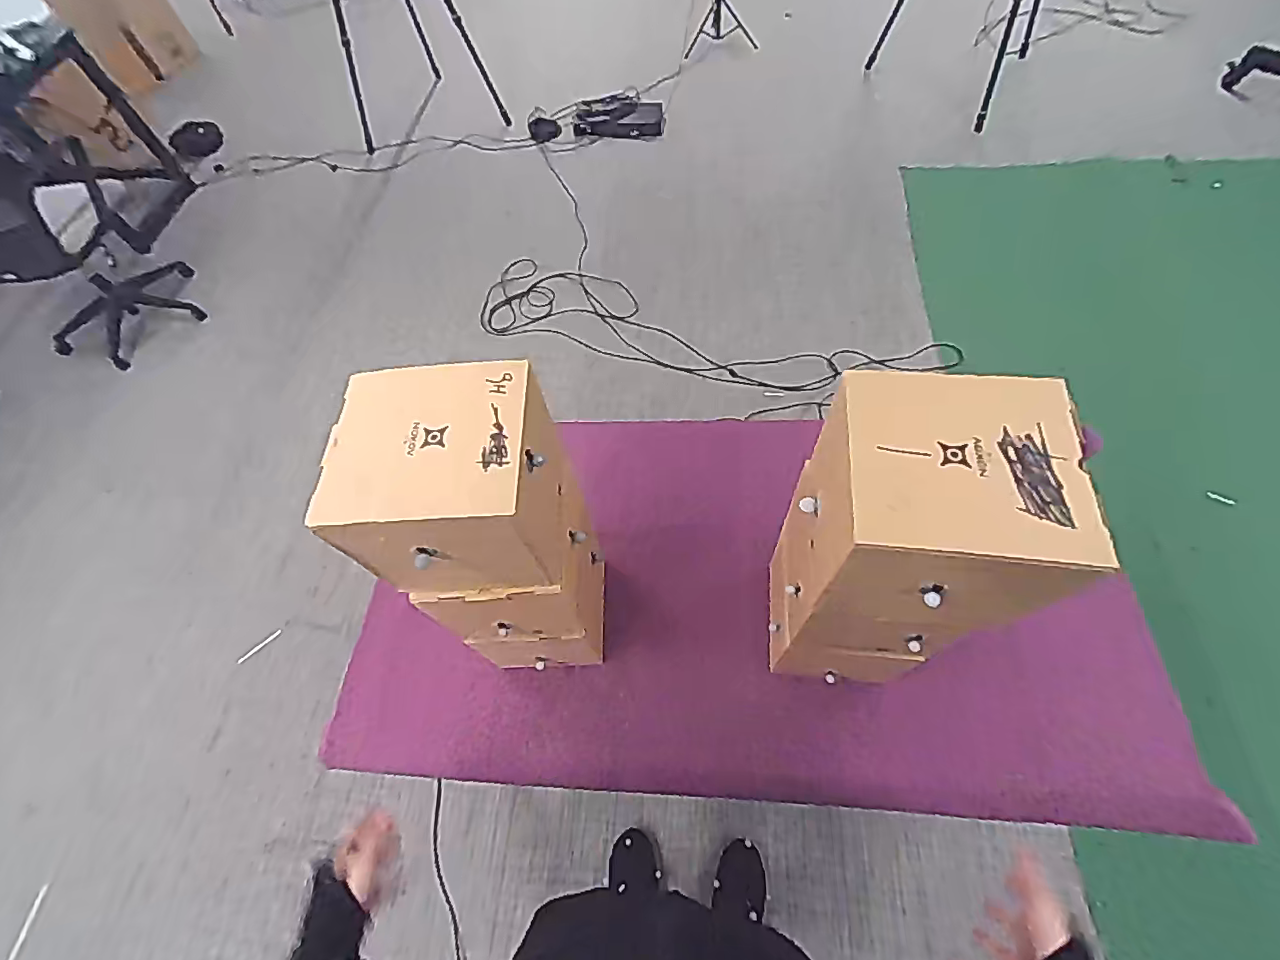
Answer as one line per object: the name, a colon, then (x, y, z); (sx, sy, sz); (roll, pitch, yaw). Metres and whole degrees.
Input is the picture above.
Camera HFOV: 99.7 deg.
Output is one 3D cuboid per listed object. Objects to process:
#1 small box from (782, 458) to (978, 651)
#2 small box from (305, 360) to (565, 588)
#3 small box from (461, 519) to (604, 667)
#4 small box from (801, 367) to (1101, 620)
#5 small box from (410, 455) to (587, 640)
small box: (0.261, 0.093, 0.632); (0.168, 0.176, 0.179); (3, 60, 7)
small box: (-0.184, 0.003, 0.545); (0.179, 0.176, 0.168); (-5, 60, 4)
small box: (-0.150, 0.176, 0.821); (0.168, 0.176, 0.179); (-4, 59, 5)
small box: (0.249, 0.019, 0.486); (0.179, 0.176, 0.168); (4, 61, 9)
small box: (-0.162, 0.090, 0.683); (0.168, 0.176, 0.179); (-5, 60, 3)
